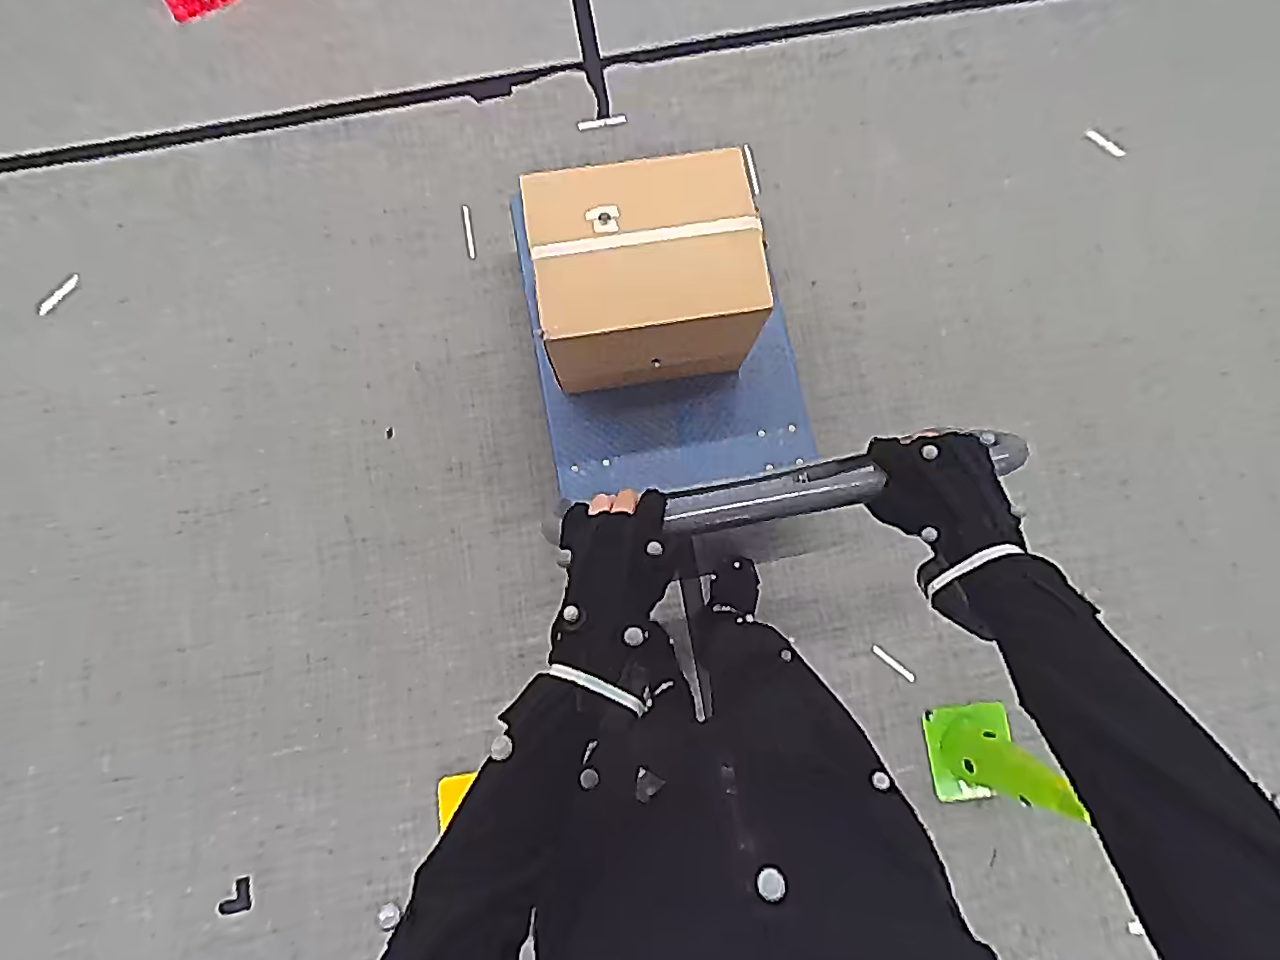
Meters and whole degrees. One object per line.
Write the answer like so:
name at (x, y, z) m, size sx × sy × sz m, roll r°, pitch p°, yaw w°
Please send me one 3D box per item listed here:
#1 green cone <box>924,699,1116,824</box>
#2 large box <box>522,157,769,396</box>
green cone at (0.779, 0.598, 1.092) m, size 0.202 × 0.368 × 0.200 m, roll -7°, pitch 81°, yaw -3°
large box at (0.007, -0.386, 1.101) m, size 0.408 × 0.320 × 0.320 m, roll -9°, pitch 82°, yaw -2°
